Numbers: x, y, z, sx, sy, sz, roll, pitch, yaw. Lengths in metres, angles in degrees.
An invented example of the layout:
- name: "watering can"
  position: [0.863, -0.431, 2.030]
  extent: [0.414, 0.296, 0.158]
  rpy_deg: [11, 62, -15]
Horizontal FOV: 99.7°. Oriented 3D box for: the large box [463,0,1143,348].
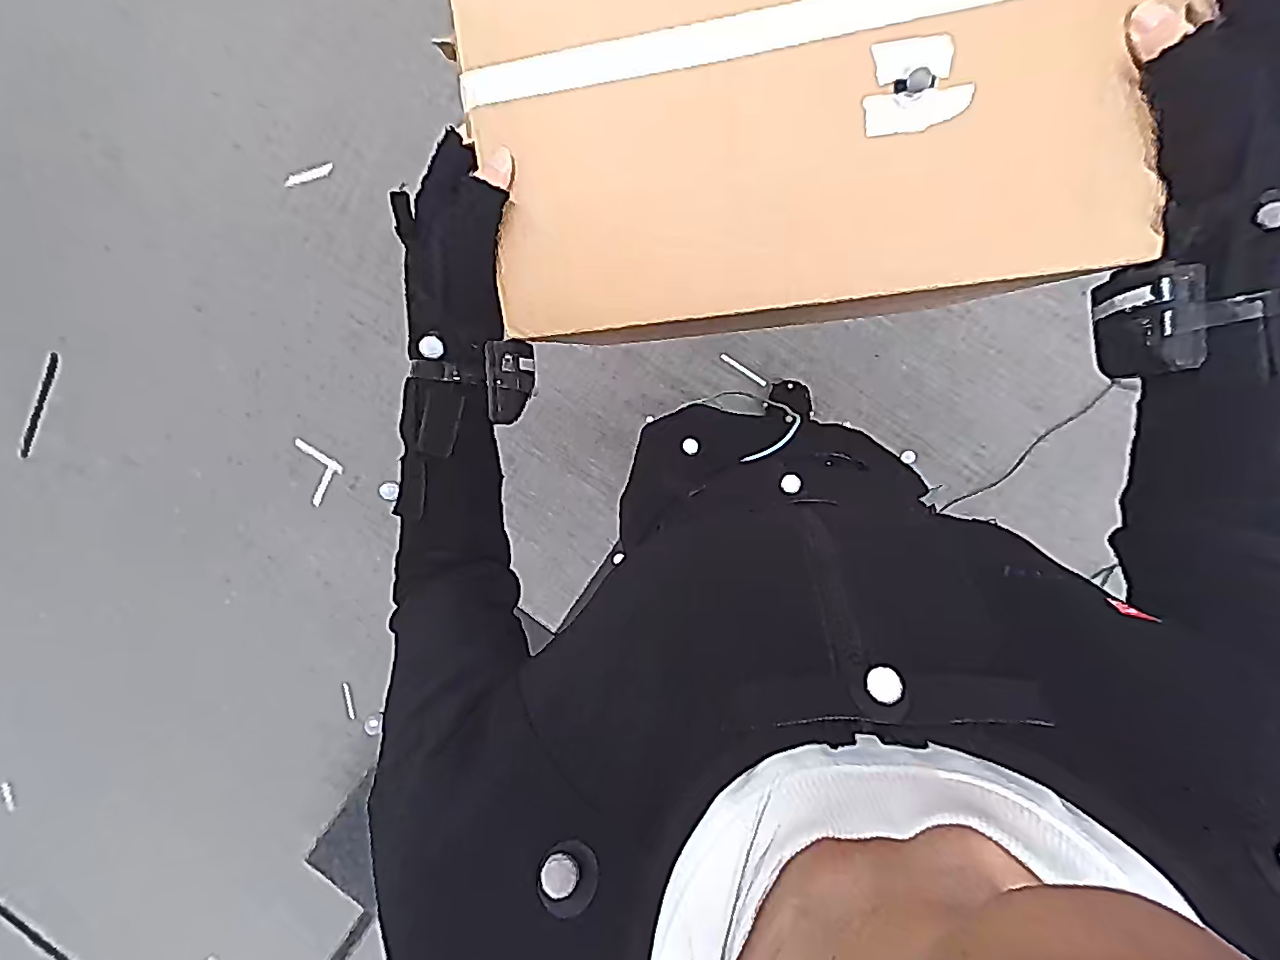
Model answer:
- name: "large box"
  position: [0.104, -0.304, 0.477]
  extent: [0.408, 0.320, 0.320]
  rpy_deg: [-6, 102, 8]
